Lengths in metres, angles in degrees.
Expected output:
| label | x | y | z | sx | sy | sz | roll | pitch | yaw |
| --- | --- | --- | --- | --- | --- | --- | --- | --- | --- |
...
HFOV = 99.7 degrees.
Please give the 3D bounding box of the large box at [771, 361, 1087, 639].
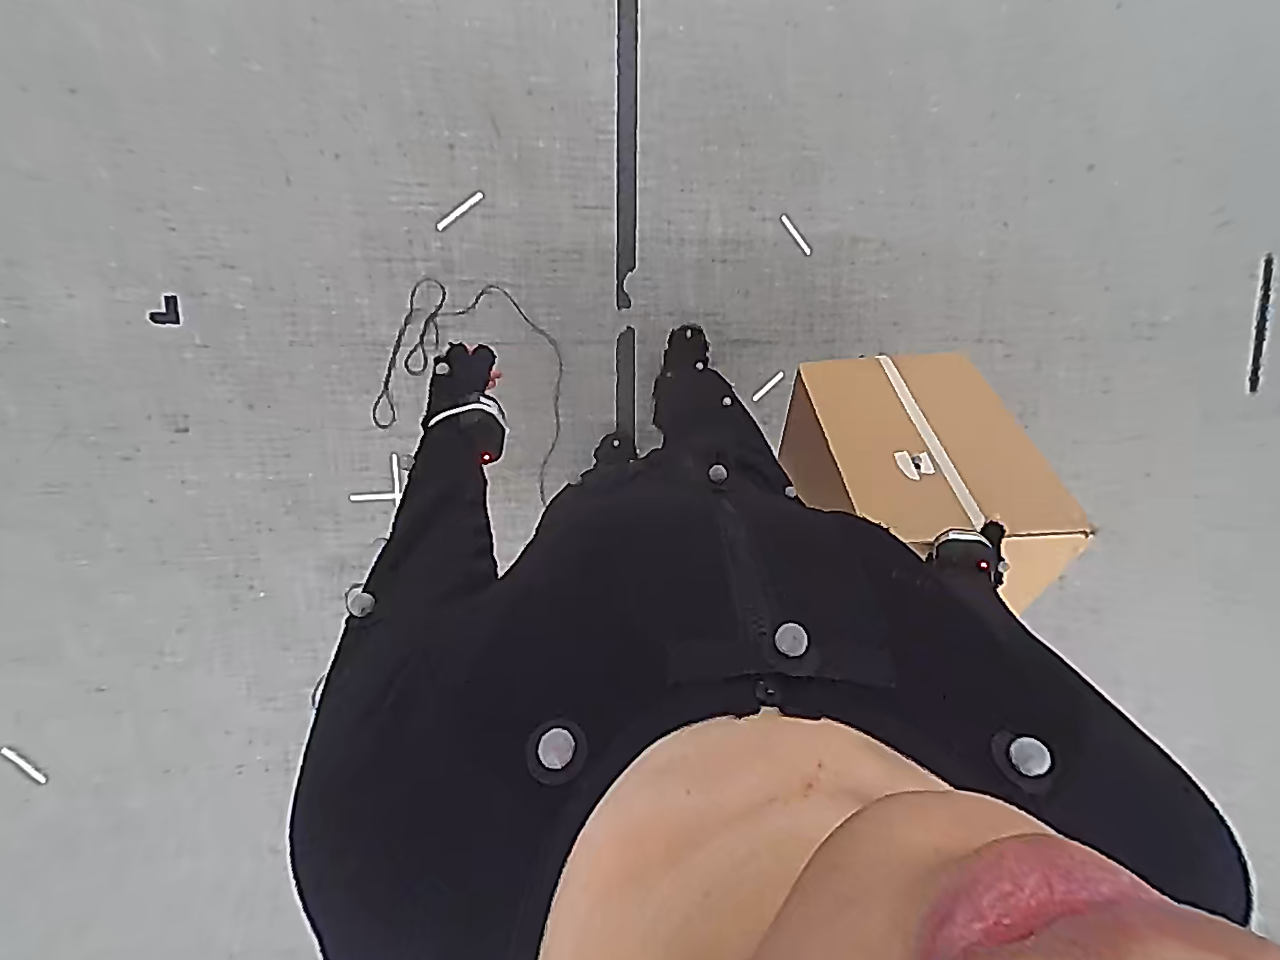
| label | x | y | z | sx | sy | sz | roll | pitch | yaw |
| --- | --- | --- | --- | --- | --- | --- | --- | --- | --- |
| large box | 0.457 | 0.031 | 0.984 | 0.320 | 0.408 | 0.320 | -4 | 139 | -1 |
